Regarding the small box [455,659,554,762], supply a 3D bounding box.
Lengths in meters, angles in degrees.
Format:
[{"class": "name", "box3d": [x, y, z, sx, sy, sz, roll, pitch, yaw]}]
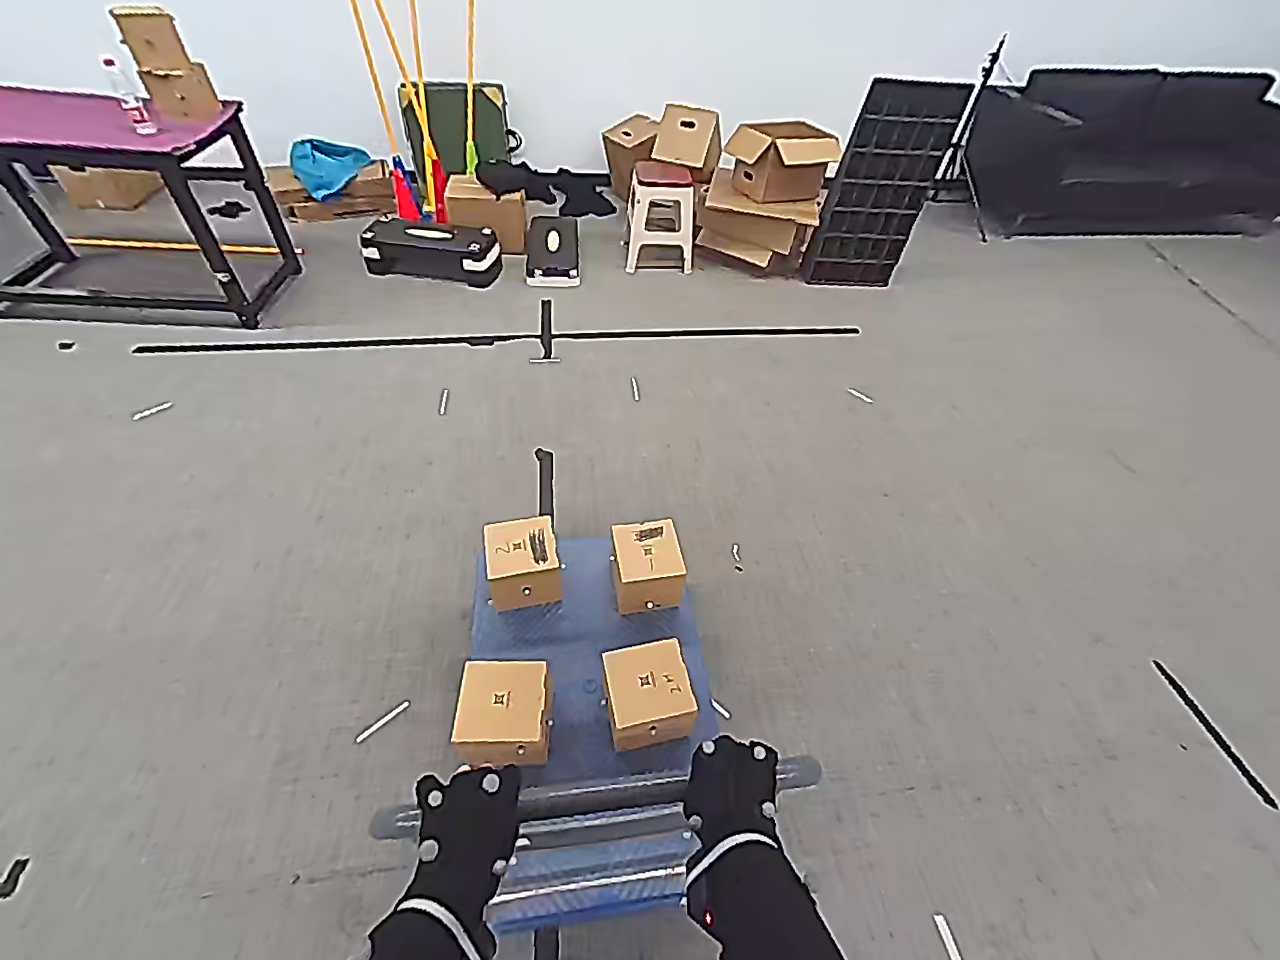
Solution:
[{"class": "small box", "box3d": [-0.286, 0.507, 1.181, 0.179, 0.176, 0.168, 2, 48, -4]}]

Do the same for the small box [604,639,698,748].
[{"class": "small box", "box3d": [0.018, 0.485, 1.221, 0.179, 0.176, 0.168, -8, 49, -11]}]

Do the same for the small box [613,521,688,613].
[{"class": "small box", "box3d": [0.021, 0.233, 1.447, 0.168, 0.176, 0.179, -6, 50, -9]}]
